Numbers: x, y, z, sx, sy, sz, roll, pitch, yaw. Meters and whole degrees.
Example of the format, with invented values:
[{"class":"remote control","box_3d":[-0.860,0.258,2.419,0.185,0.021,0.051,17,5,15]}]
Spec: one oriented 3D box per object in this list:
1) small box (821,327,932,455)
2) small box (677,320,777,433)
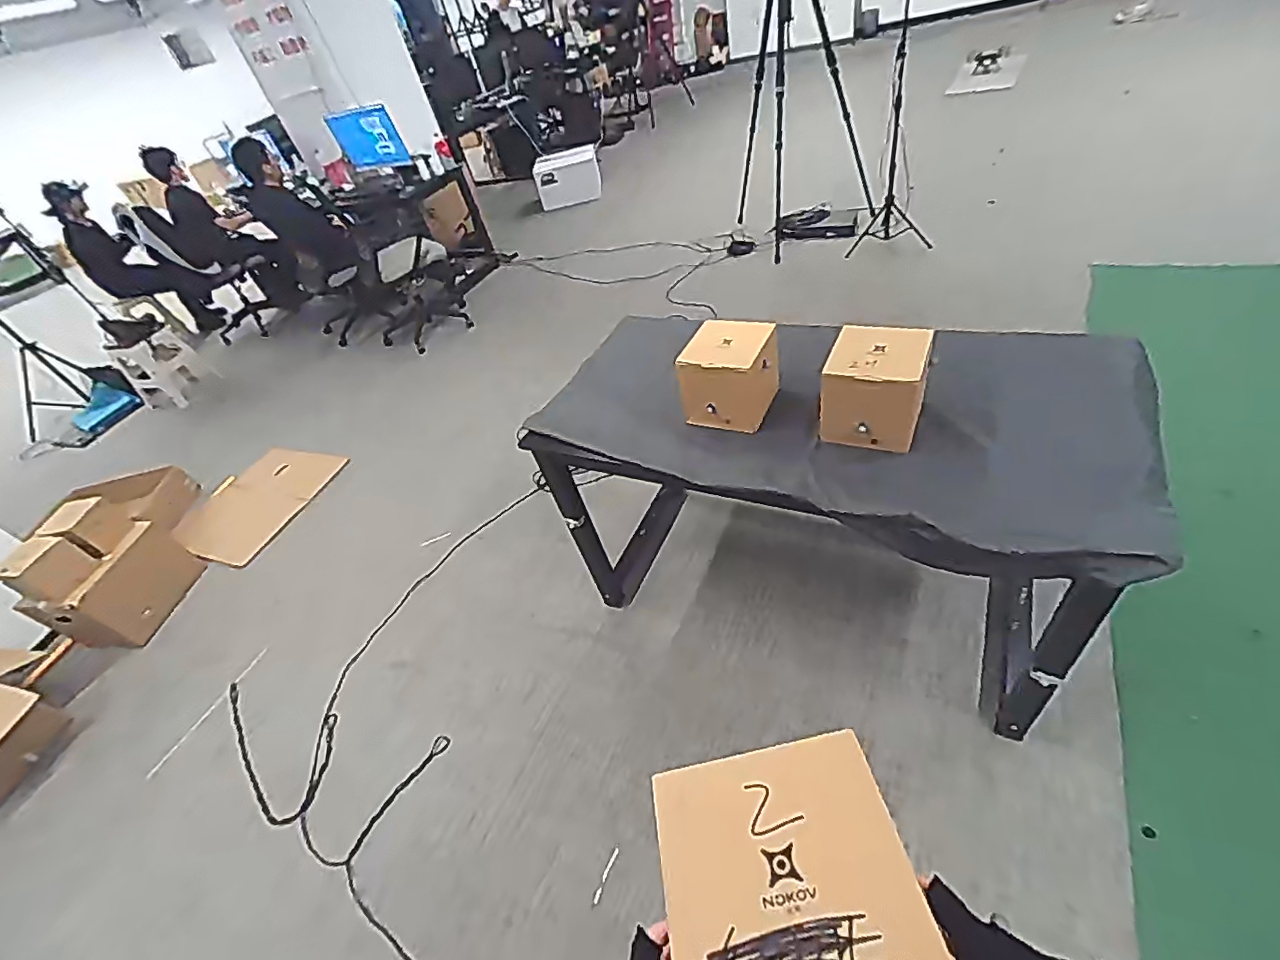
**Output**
[{"class":"small box","box_3d":[0.458,-0.177,1.062,0.168,0.176,0.179,13,50,28]},{"class":"small box","box_3d":[0.197,-0.230,1.197,0.168,0.176,0.179,13,50,27]}]
